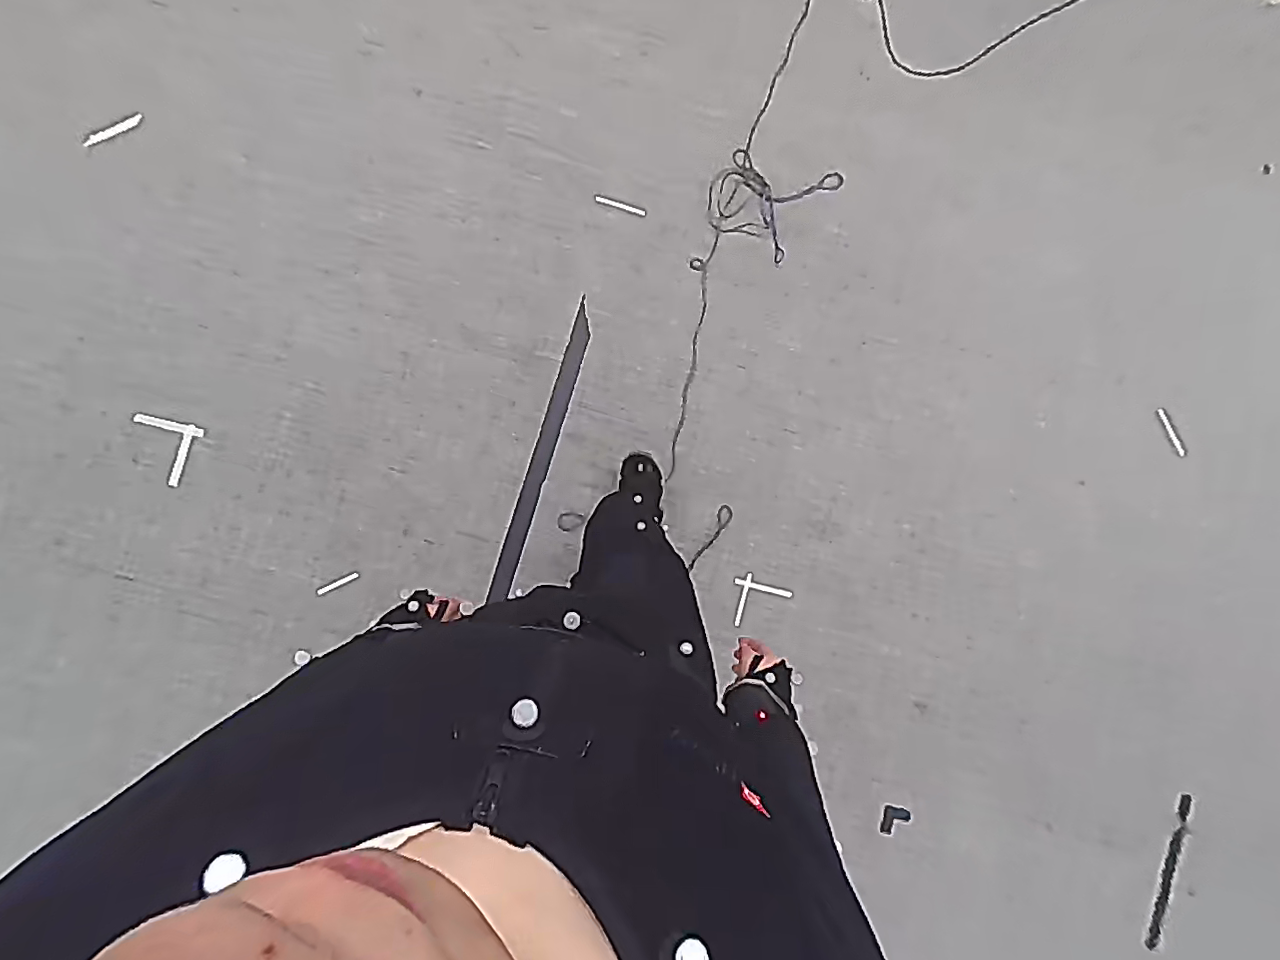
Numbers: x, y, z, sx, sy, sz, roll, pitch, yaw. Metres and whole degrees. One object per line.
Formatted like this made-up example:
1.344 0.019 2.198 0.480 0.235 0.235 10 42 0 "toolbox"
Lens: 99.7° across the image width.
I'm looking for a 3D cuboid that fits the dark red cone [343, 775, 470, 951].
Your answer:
-0.507 0.802 1.116 0.201 0.394 0.202 16 85 -3 "dark red cone"
